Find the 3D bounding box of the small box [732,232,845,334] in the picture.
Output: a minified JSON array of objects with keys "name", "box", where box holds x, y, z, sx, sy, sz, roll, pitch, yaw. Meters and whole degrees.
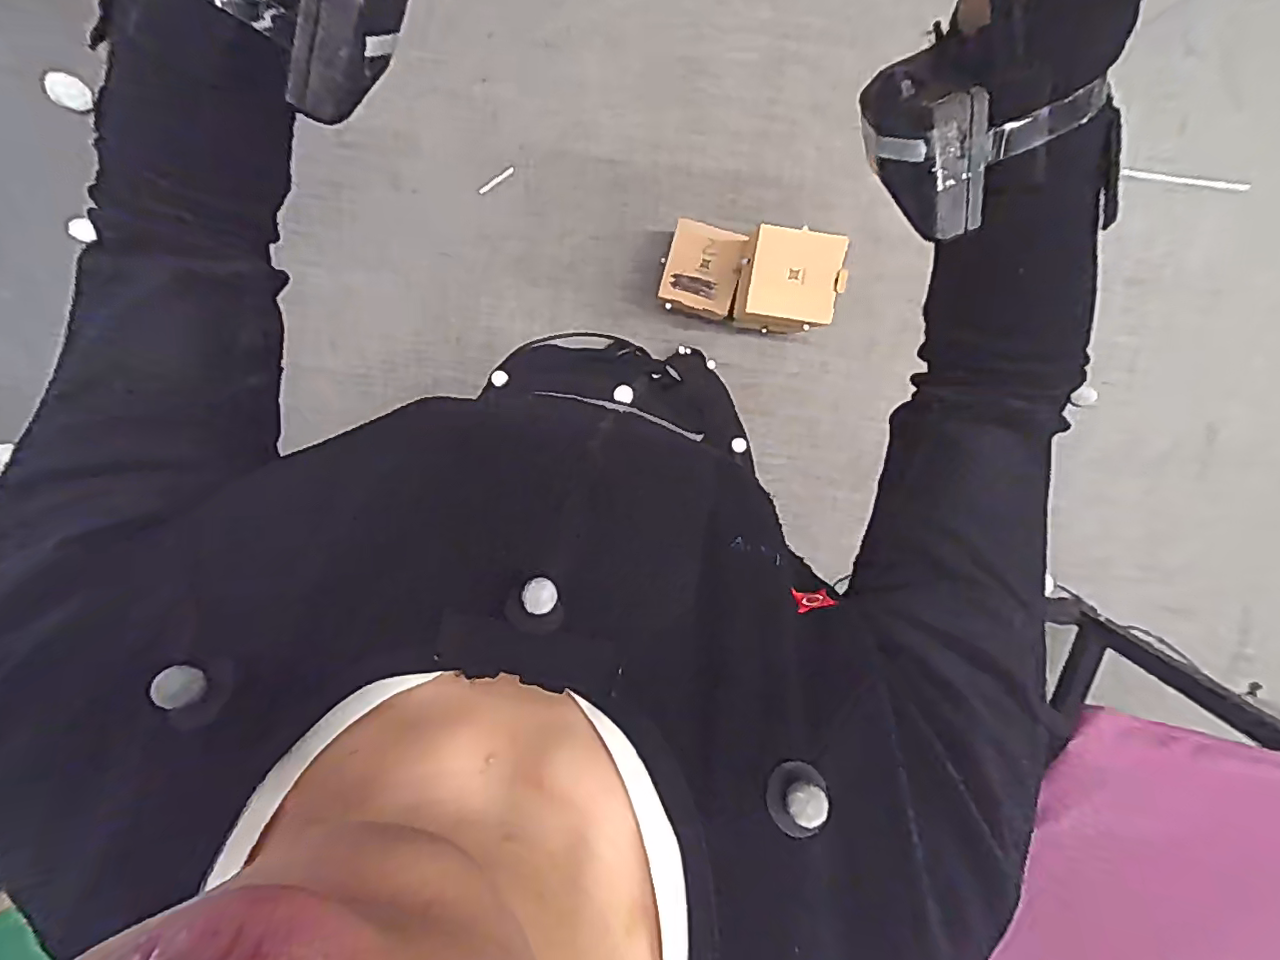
[{"name":"small box","box":[0.300,-0.403,1.135,0.179,0.176,0.168,8,103,-2]}]
